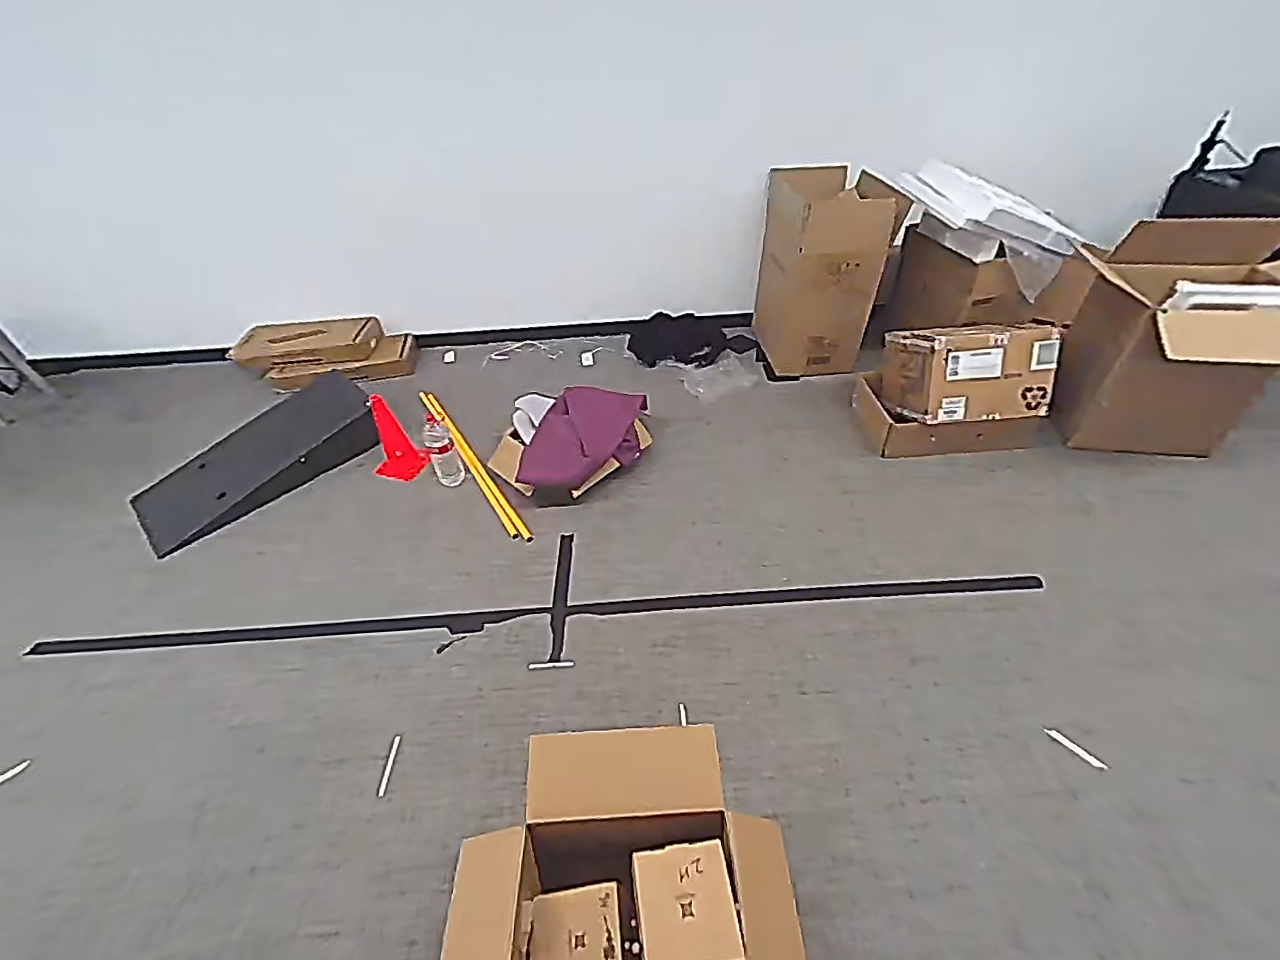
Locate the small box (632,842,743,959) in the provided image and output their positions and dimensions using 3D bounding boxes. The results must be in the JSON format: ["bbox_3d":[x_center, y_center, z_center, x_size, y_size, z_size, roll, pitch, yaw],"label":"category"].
[{"bbox_3d":[0.078,0.791,0.981,0.168,0.176,0.179,-5,43,-7],"label":"small box"}]
